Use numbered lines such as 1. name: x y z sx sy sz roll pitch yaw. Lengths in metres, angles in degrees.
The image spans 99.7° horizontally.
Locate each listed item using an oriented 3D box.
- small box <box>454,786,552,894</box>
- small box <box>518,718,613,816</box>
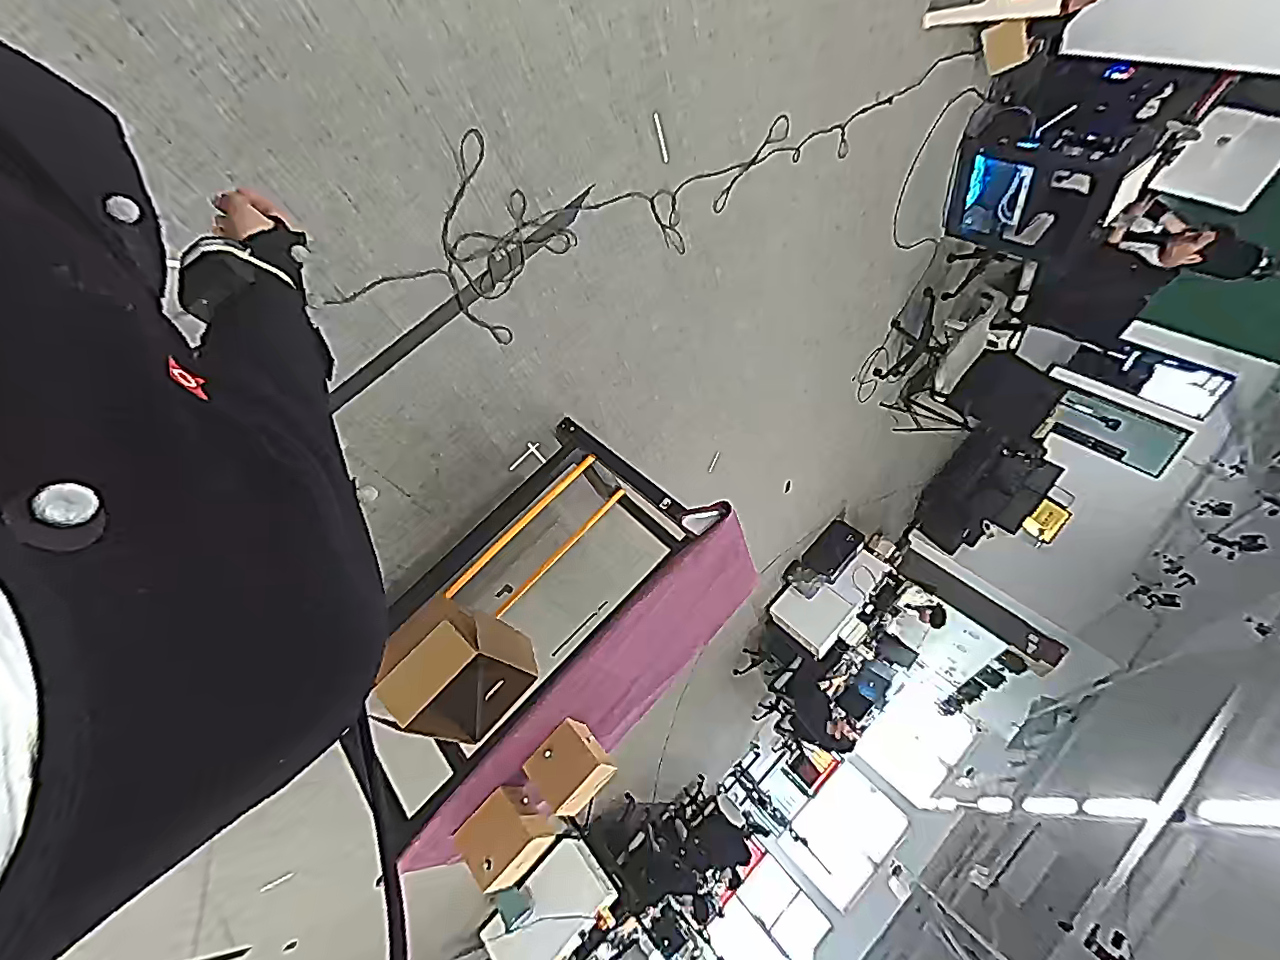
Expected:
1. small box: -0.381 0.978 1.482 0.179 0.176 0.168 -44 149 -12
2. small box: -0.205 0.817 1.541 0.179 0.176 0.168 -45 148 -13
